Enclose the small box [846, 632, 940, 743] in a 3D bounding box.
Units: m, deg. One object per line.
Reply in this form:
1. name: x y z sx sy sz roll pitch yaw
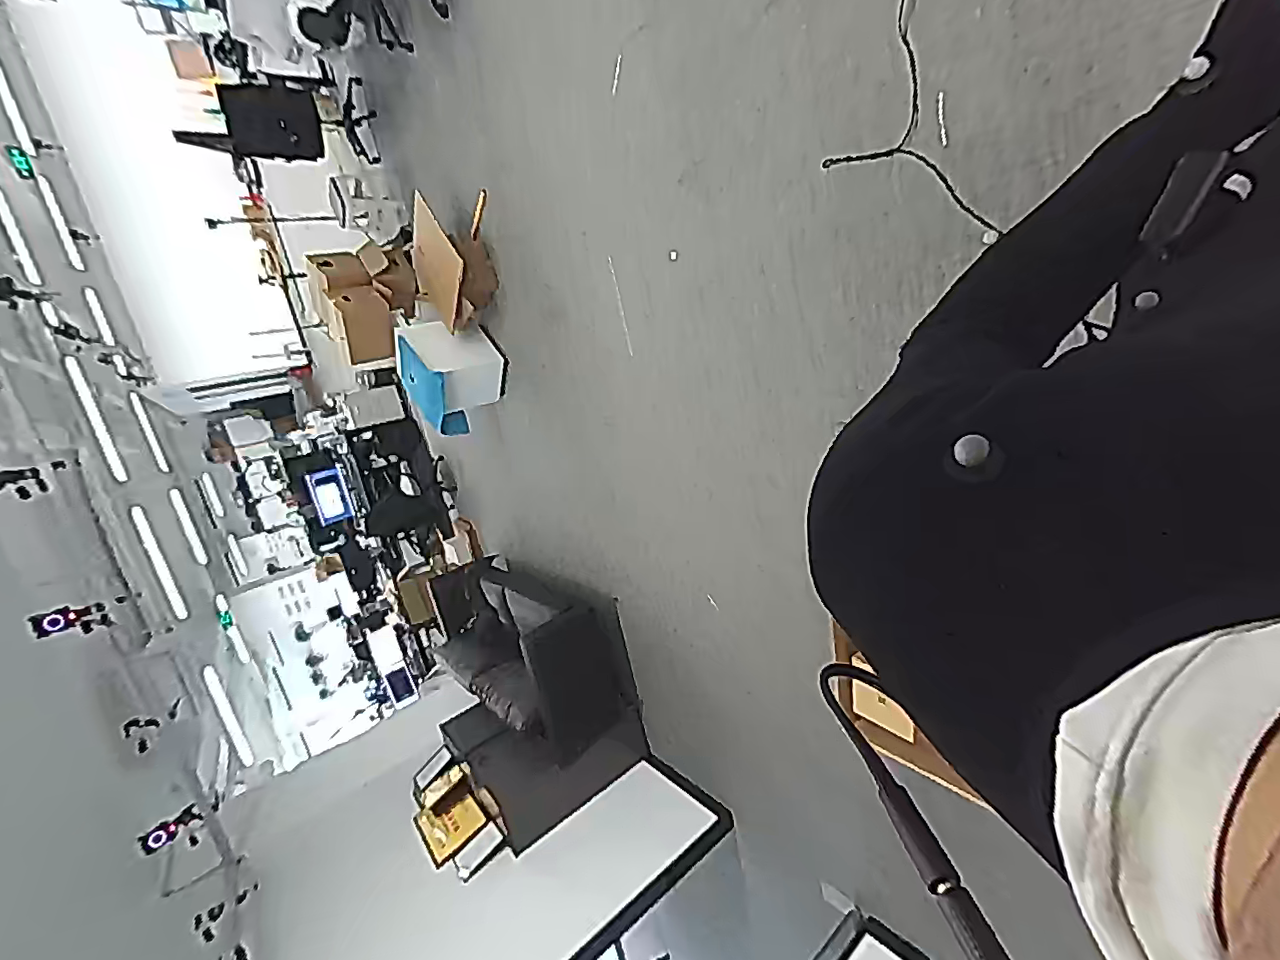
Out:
1. small box: 0.660 0.532 1.411 0.168 0.176 0.179 14 117 51
